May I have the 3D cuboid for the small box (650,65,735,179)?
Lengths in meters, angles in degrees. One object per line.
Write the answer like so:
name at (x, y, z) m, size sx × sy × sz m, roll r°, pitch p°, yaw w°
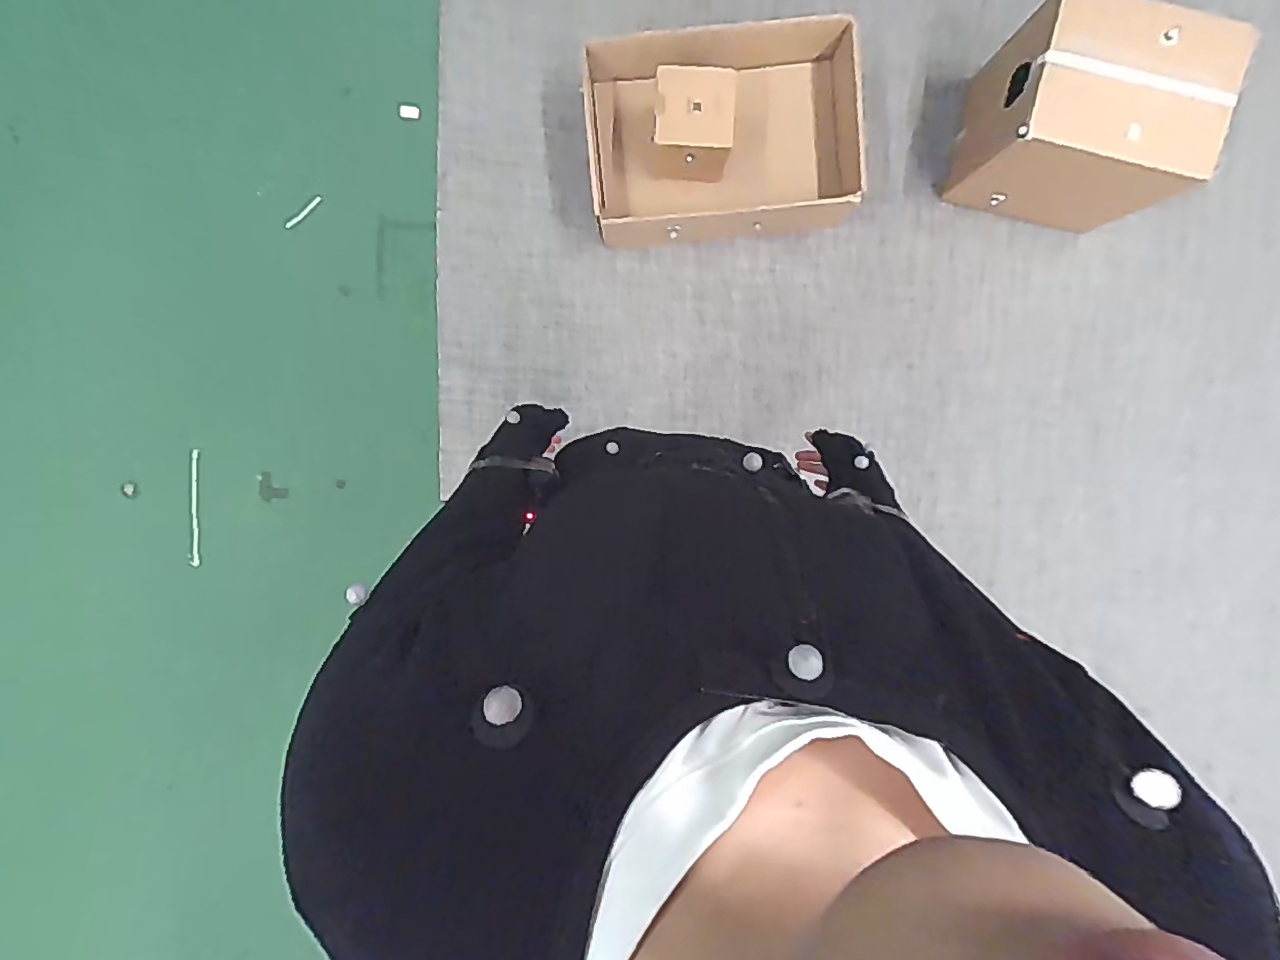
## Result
small box at (0.115, -0.828, 1.266) m, size 0.179 × 0.176 × 0.168 m, roll 2°, pitch 96°, yaw -3°
